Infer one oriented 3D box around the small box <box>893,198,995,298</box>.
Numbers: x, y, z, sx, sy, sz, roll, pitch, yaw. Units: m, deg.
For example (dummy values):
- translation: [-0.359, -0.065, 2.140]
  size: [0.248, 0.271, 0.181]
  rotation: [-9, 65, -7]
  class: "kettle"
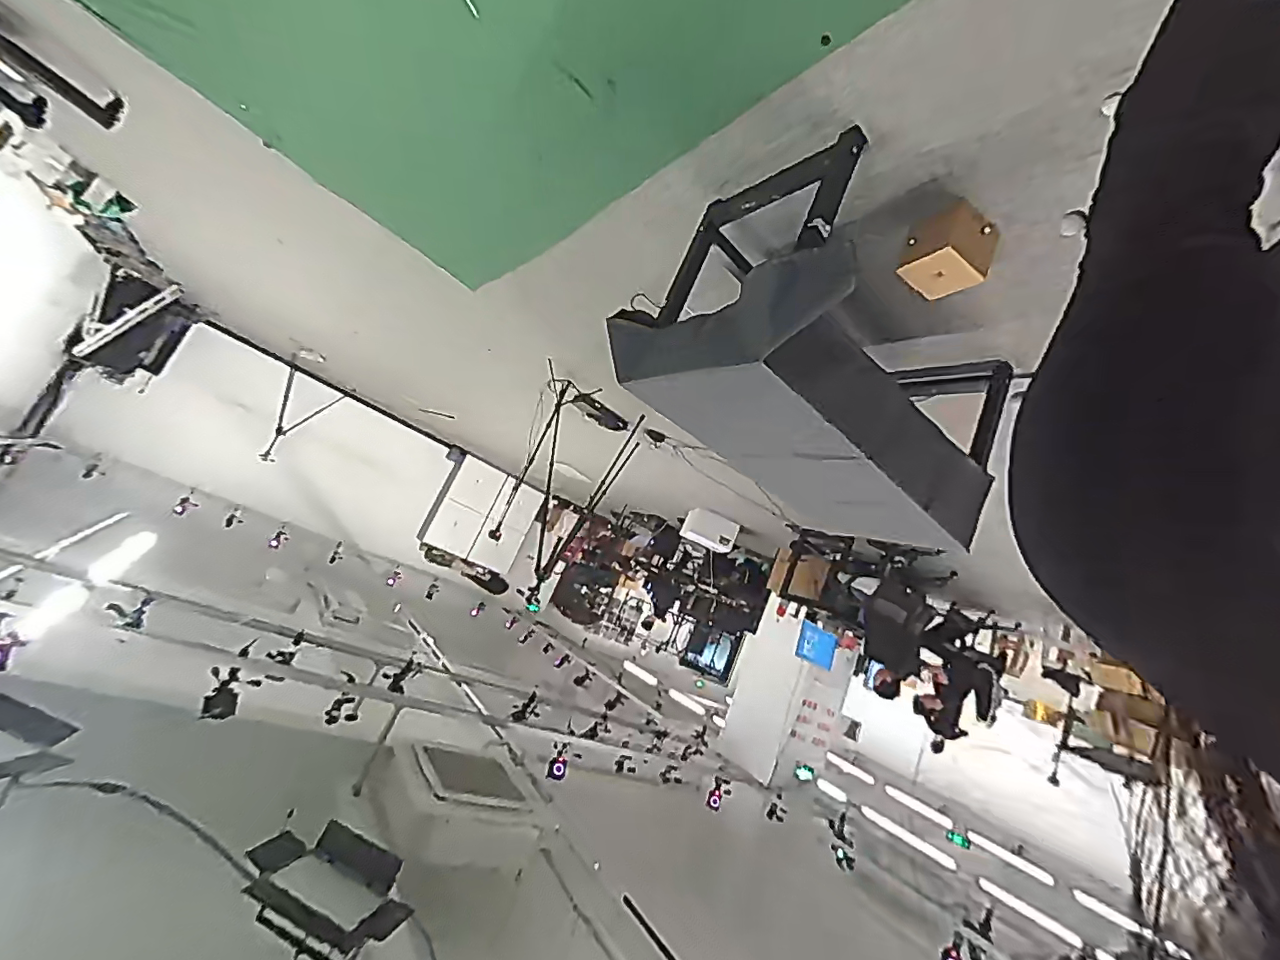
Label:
- translation: [0.873, -0.663, 1.553]
  size: [0.168, 0.176, 0.179]
  rotation: [27, 169, -21]
  class: "small box"
